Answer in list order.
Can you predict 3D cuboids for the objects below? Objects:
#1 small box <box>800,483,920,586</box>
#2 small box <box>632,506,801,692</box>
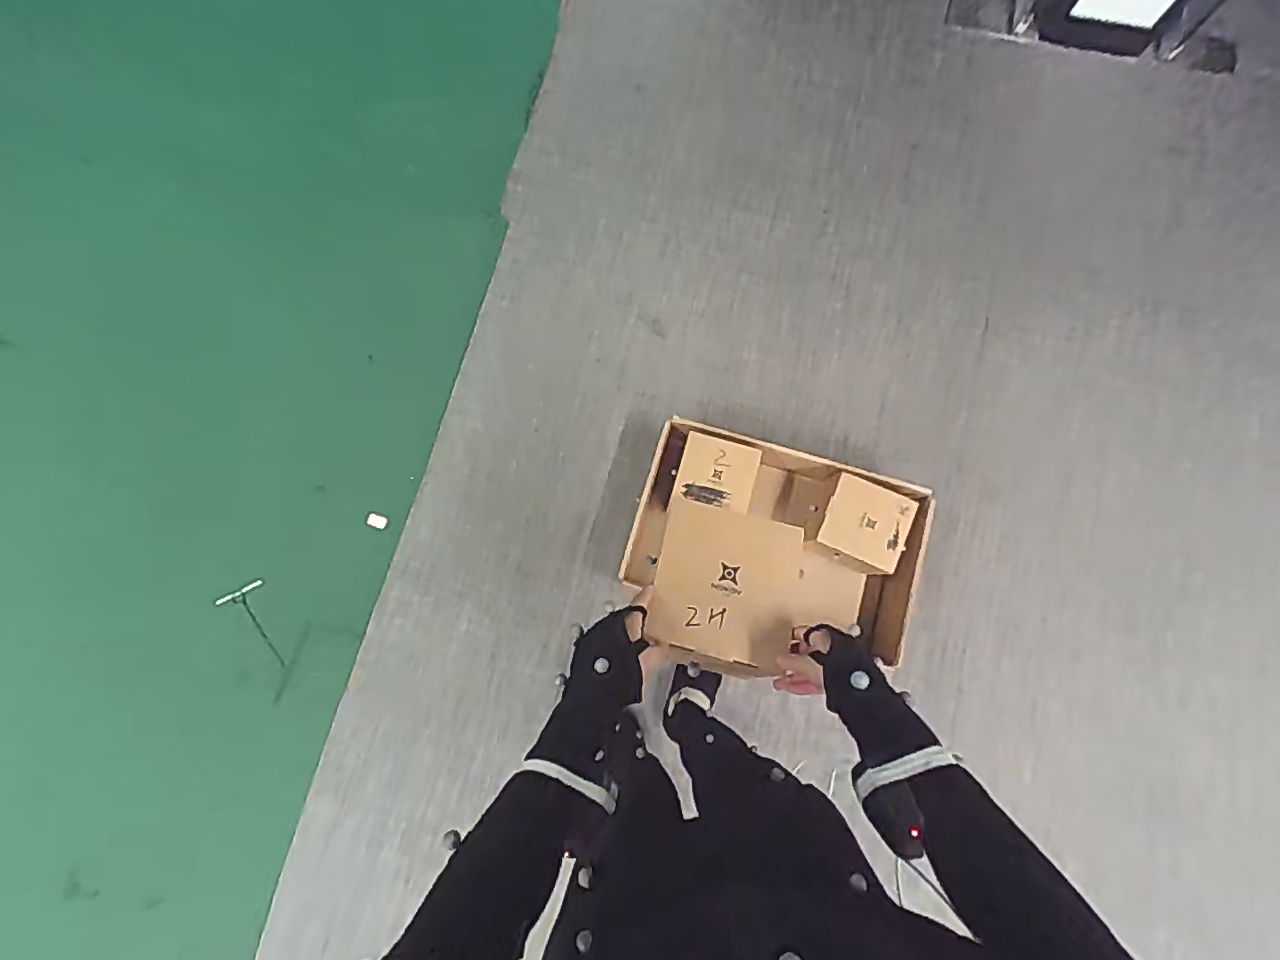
[{"bbox_3d":[0.481,0.128,1.212,0.179,0.176,0.168,25,82,8],"label":"small box"},{"bbox_3d":[0.089,0.160,0.694,0.168,0.176,0.179,15,67,3],"label":"small box"}]
